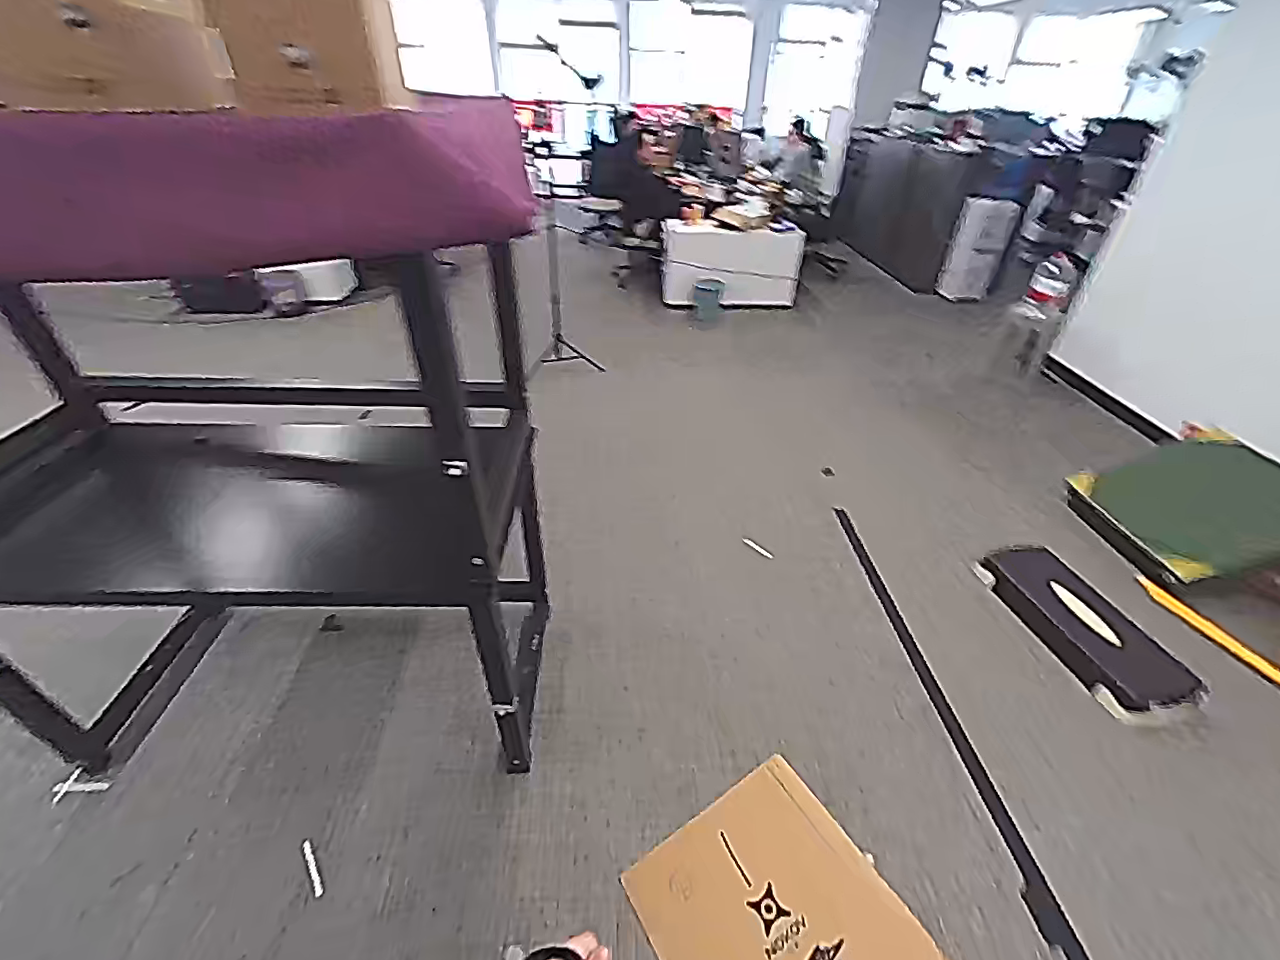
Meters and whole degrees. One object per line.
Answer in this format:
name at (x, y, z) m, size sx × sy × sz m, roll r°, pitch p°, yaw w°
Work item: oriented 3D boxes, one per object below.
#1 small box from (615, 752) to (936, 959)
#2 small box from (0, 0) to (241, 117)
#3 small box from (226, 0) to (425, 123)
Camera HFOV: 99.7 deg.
small box at (0.100, 0.370, 0.443) m, size 0.168 × 0.176 × 0.179 m, roll -27°, pitch 49°, yaw -19°
small box at (-0.633, -0.544, 0.656) m, size 0.168 × 0.176 × 0.179 m, roll -1°, pitch 35°, yaw -5°
small box at (-0.369, -0.535, 0.649) m, size 0.168 × 0.176 × 0.179 m, roll -4°, pitch 35°, yaw -6°
